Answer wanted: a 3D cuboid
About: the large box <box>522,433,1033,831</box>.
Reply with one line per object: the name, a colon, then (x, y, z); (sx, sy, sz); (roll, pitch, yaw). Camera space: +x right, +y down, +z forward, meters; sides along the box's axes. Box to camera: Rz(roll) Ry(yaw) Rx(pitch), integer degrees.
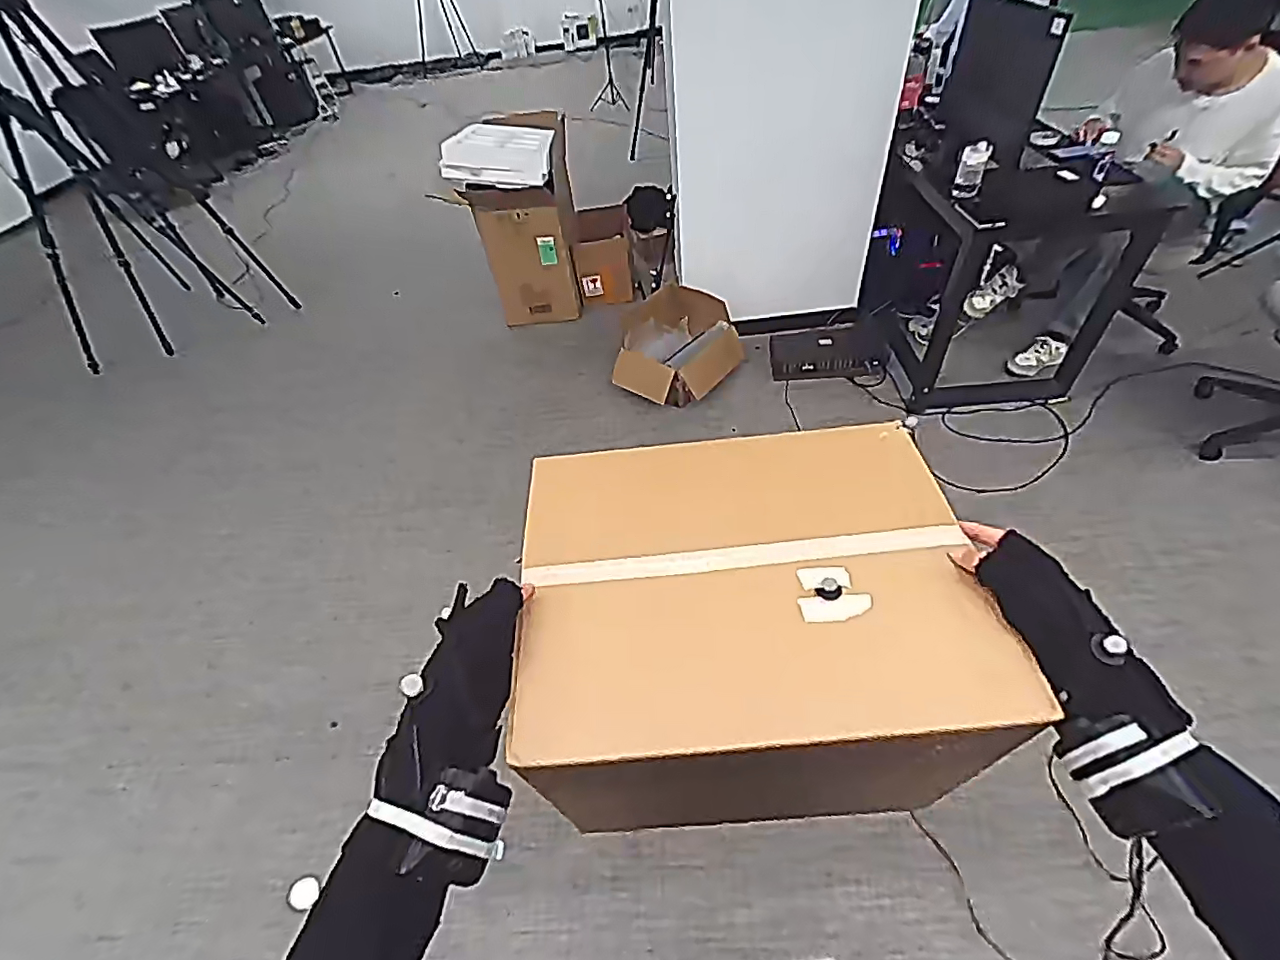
large box: (0.105, 0.179, 0.620); (0.408, 0.320, 0.320); (-6, 49, 1)
